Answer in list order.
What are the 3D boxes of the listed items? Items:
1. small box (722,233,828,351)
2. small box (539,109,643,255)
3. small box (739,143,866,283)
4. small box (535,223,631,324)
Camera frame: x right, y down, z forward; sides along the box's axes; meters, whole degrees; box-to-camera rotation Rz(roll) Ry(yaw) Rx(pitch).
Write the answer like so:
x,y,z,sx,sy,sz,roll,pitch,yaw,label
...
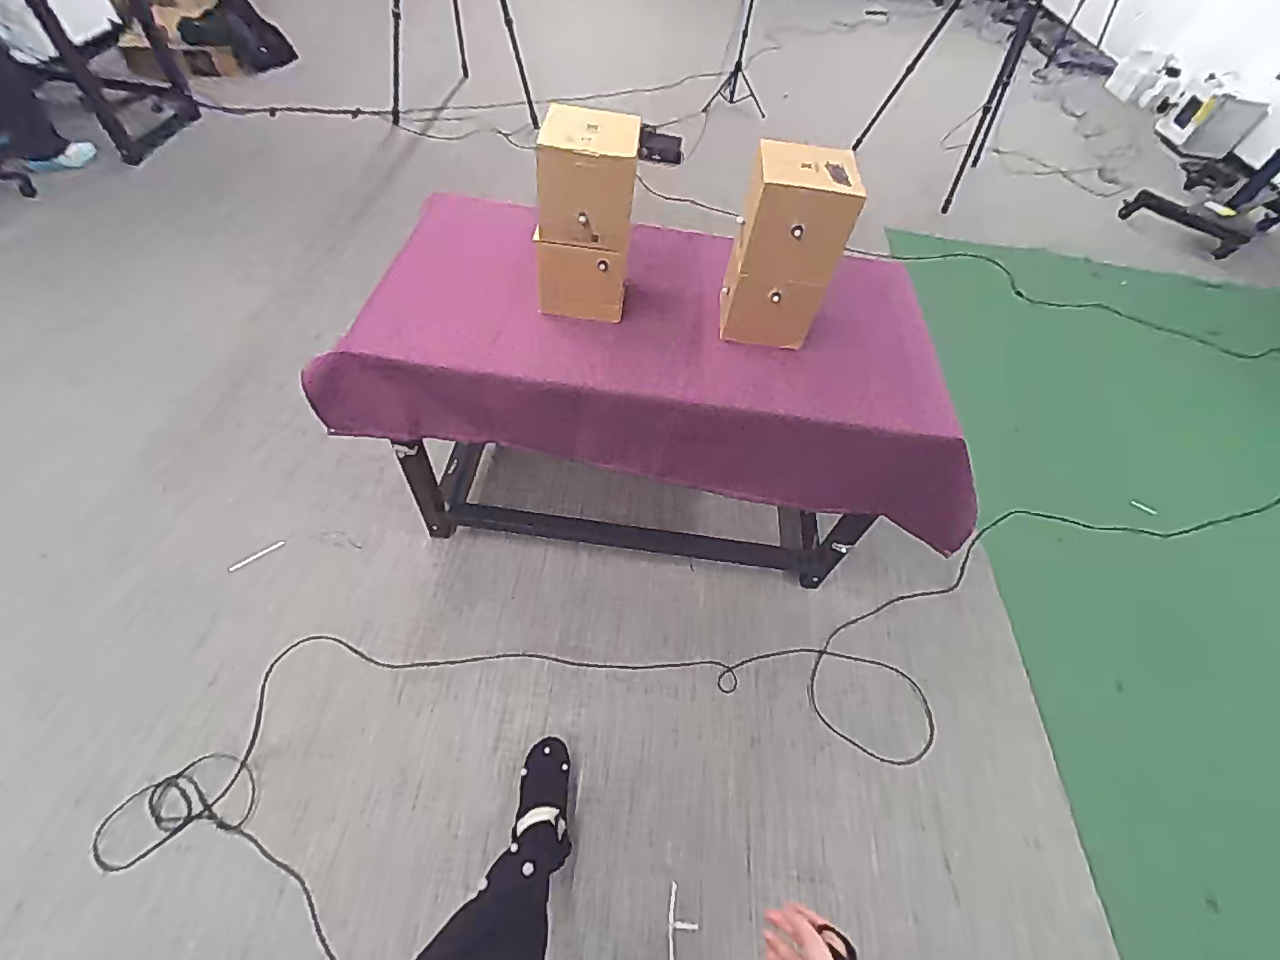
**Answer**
x,y,z,sx,sy,sz,roll,pitch,yaw,label
0.273,-0.392,1.134,0.179,0.176,0.168,8,54,-2,small box
-0.090,-0.548,0.999,0.168,0.176,0.179,6,53,-3,small box
0.289,-0.489,1.003,0.179,0.176,0.168,7,54,-1,small box
-0.115,-0.448,1.128,0.179,0.176,0.168,7,53,-3,small box
